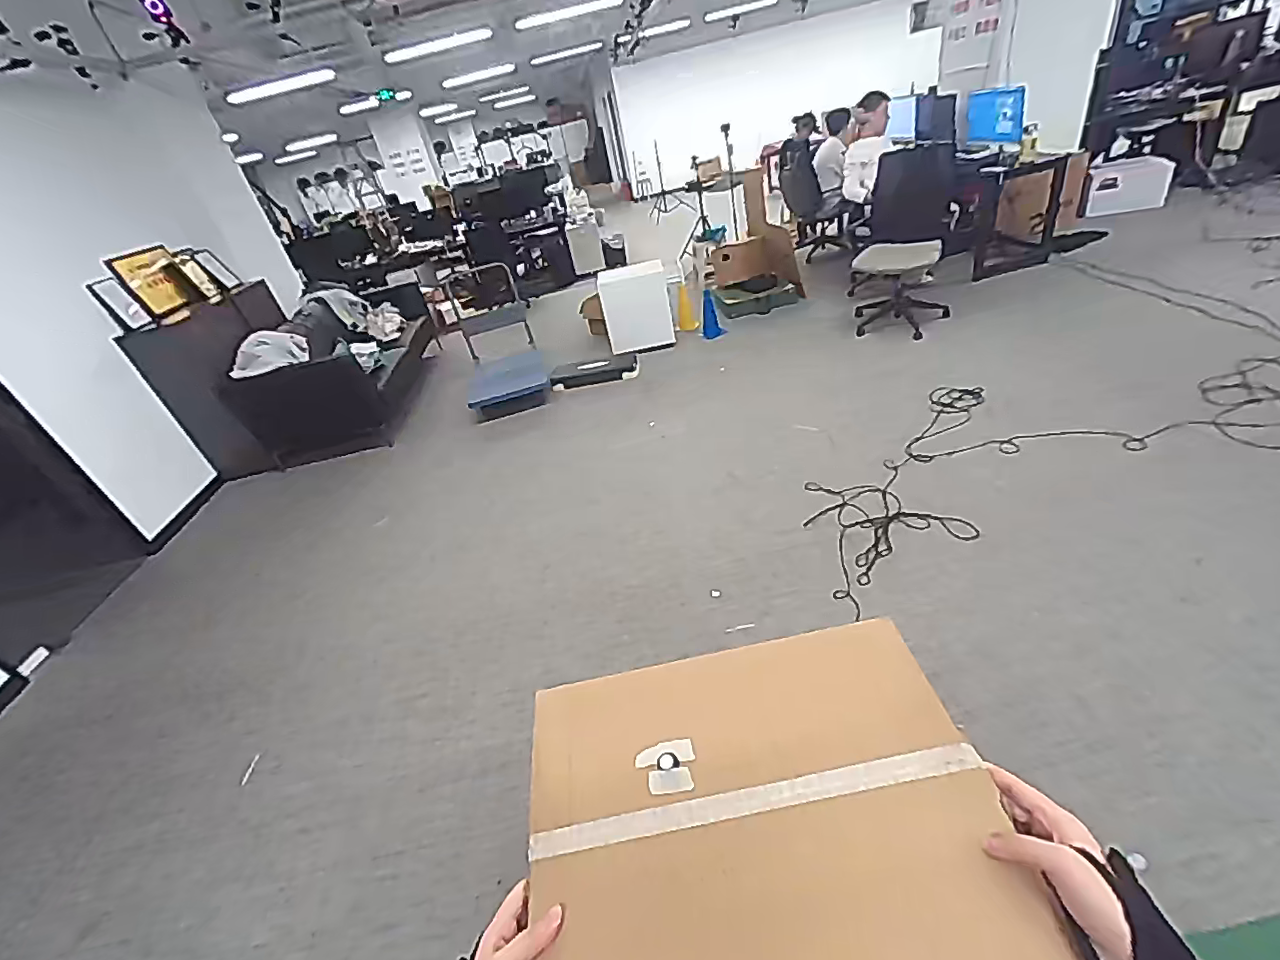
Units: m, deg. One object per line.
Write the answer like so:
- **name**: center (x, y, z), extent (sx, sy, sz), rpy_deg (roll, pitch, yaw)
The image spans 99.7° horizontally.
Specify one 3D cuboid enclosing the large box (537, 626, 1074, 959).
- **large box**: center (0.133, 0.414, 0.584), extent (0.408, 0.320, 0.320), rpy_deg (-14, 39, 3)
